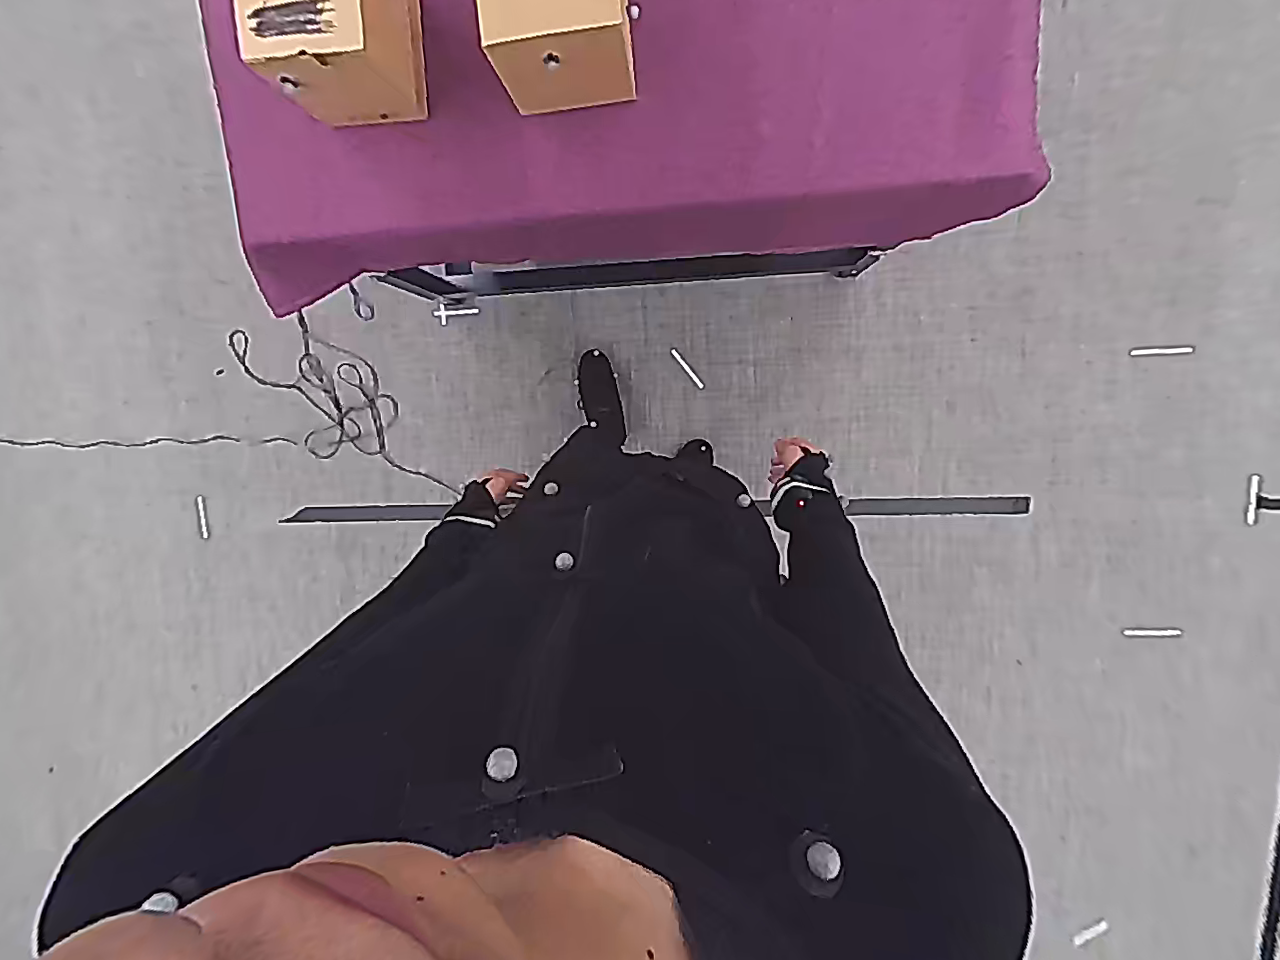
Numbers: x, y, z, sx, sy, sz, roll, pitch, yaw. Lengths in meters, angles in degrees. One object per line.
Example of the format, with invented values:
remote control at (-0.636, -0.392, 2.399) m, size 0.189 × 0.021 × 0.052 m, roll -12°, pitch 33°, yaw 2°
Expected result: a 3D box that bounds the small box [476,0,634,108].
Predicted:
small box at (-0.108, -0.627, 0.717) m, size 0.179 × 0.176 × 0.168 m, roll -4°, pitch 99°, yaw 5°
